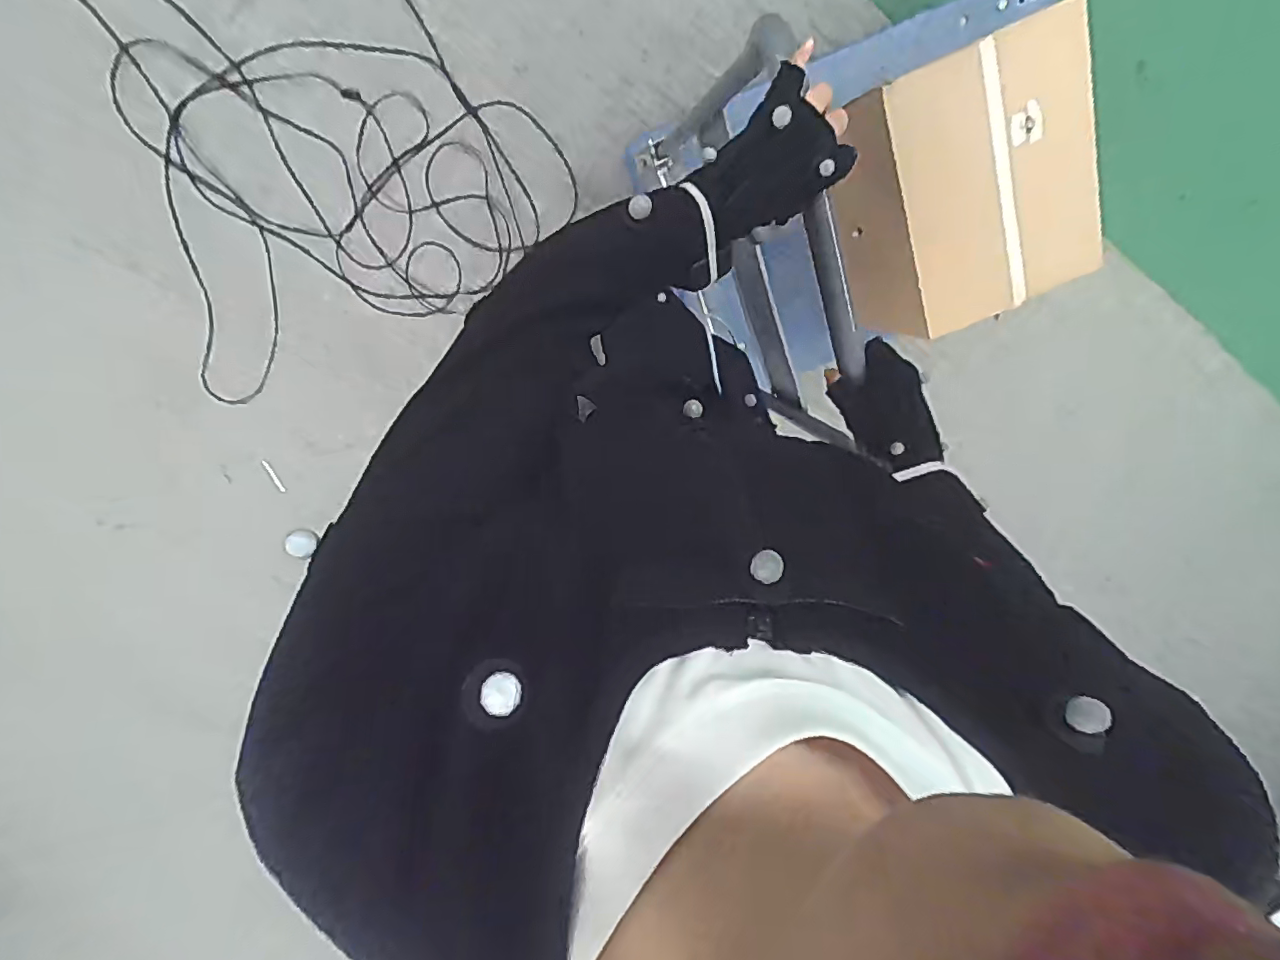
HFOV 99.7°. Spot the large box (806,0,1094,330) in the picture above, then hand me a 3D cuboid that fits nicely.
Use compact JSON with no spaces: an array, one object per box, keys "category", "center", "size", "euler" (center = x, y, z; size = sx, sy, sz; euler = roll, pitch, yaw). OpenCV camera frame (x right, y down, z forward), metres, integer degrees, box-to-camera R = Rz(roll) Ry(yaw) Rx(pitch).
[{"category":"large box","center":[0.555,-0.542,1.010],"size":[0.320,0.320,0.408],"euler":[-23,111,4]}]
